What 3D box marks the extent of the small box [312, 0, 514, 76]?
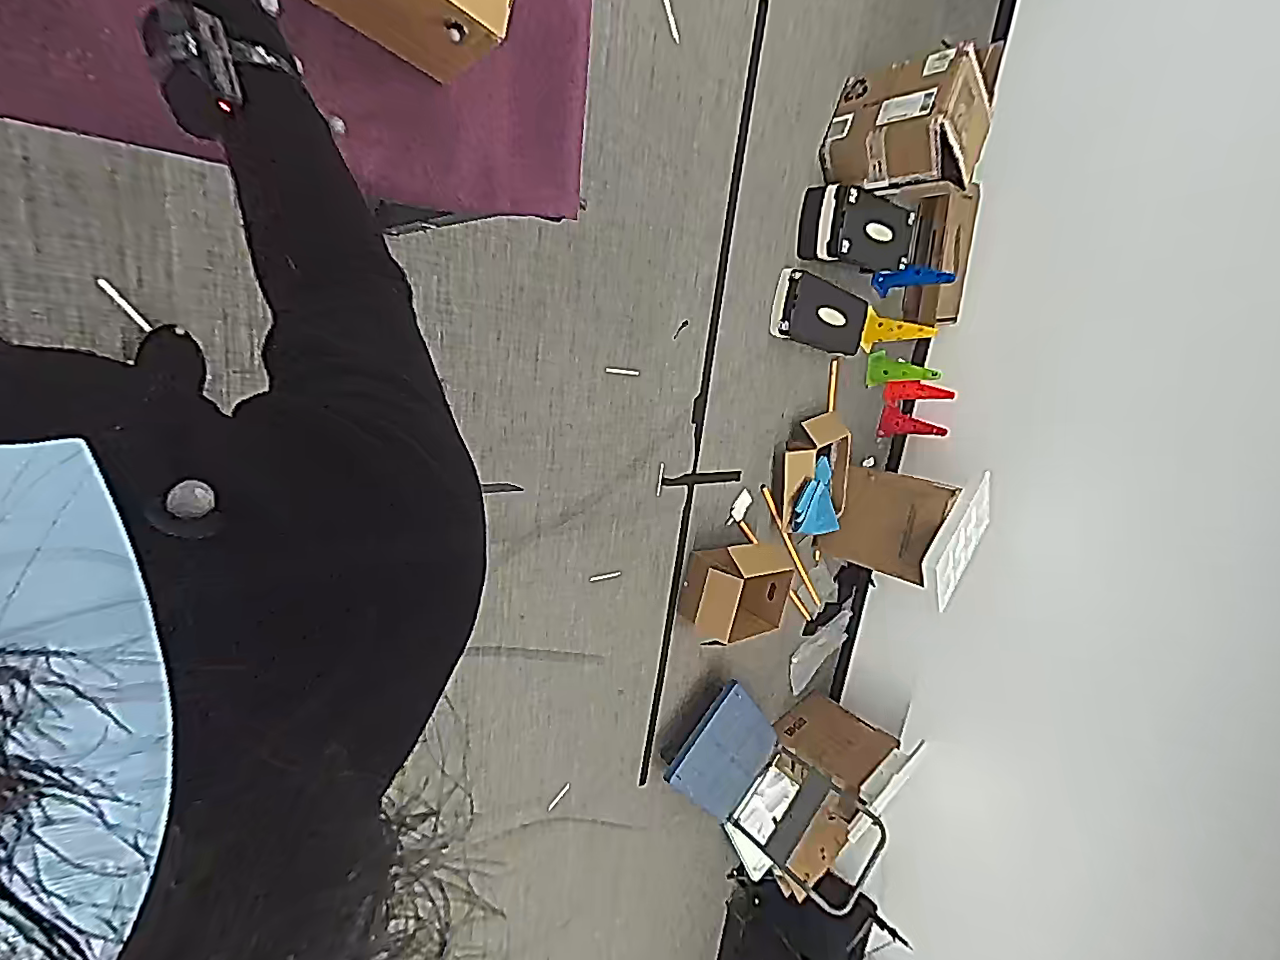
[{"bbox_3d":[-0.234,-0.556,0.545,0.179,0.176,0.168,8,100,-44],"label":"small box"}]
